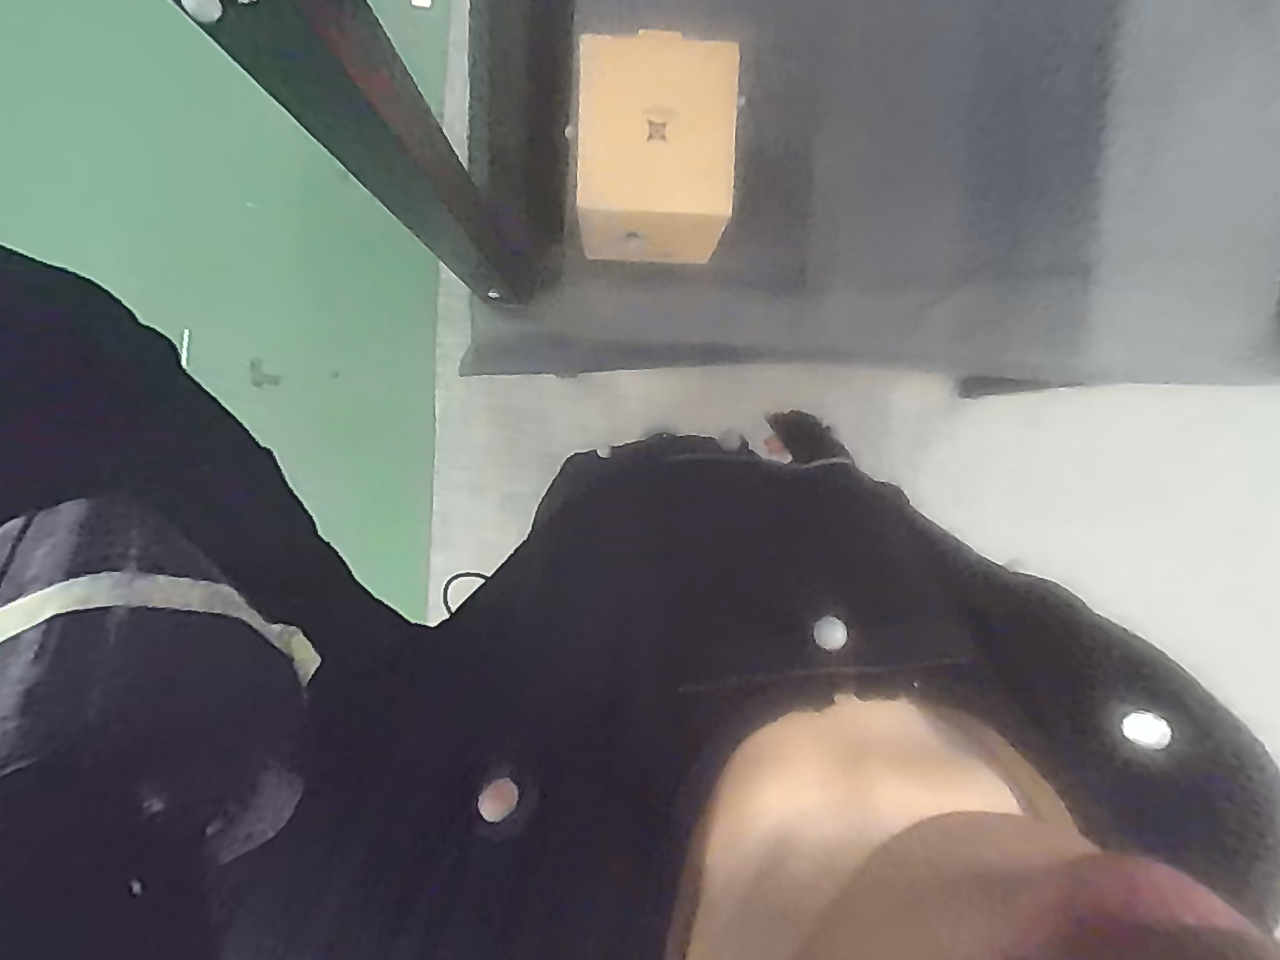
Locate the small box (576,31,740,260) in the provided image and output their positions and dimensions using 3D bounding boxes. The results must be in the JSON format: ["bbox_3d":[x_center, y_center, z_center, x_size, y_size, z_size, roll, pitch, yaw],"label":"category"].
[{"bbox_3d":[0.017,-0.373,0.635,0.168,0.176,0.179,1,94,-2],"label":"small box"}]
